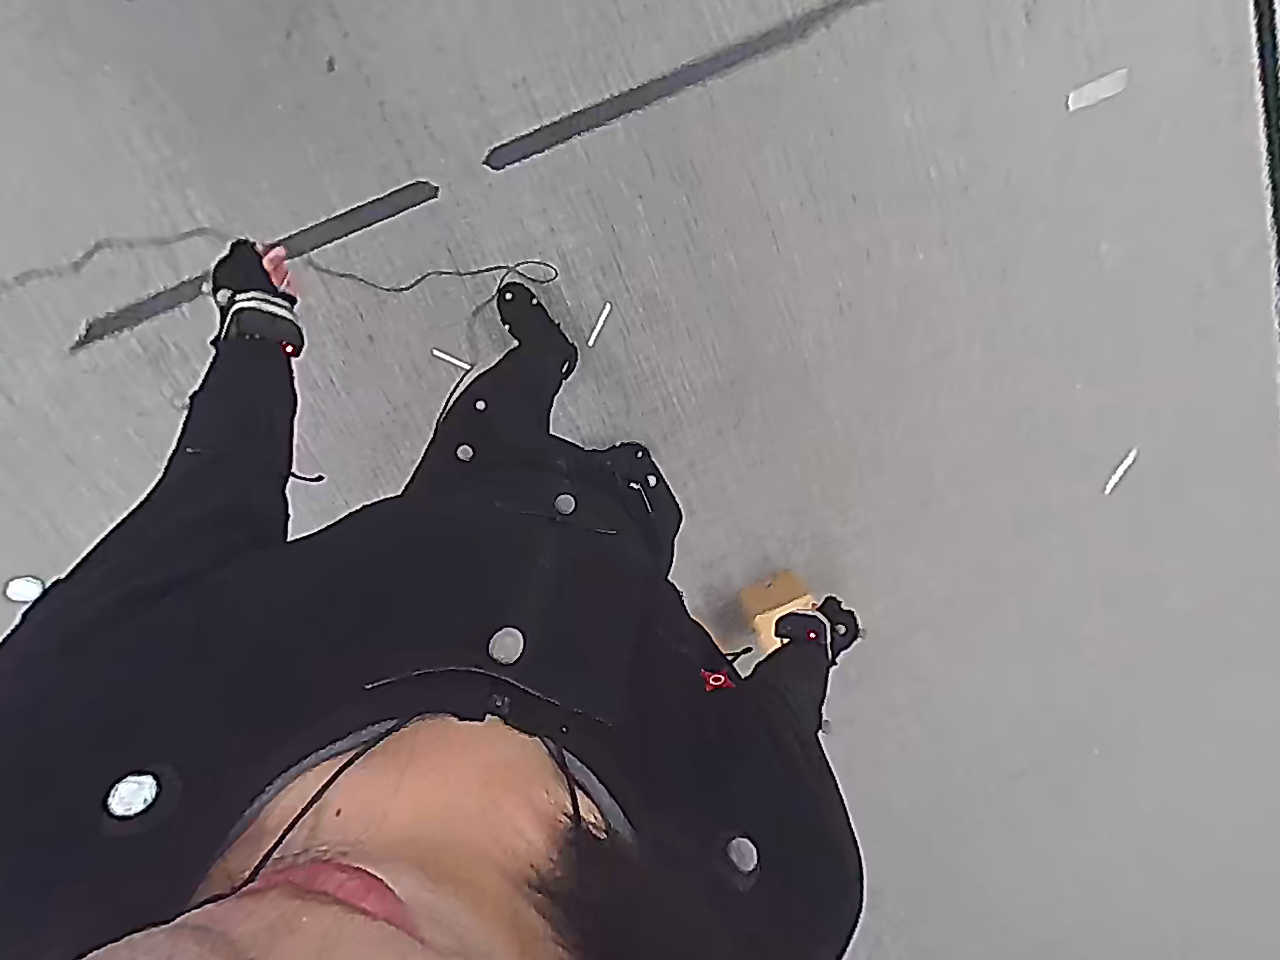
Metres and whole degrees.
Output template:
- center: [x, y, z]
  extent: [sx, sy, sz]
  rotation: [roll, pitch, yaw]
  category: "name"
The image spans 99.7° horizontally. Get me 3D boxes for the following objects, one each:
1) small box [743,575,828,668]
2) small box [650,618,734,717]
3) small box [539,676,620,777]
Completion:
- center: [0.409, 0.404, 1.562]
  extent: [0.179, 0.176, 0.168]
  rotation: [-23, 104, 3]
  category: "small box"
- center: [0.147, 0.542, 1.583]
  extent: [0.168, 0.176, 0.179]
  rotation: [-40, 102, 6]
  category: "small box"
- center: [-0.177, 0.726, 1.611]
  extent: [0.168, 0.176, 0.179]
  rotation: [42, 100, -11]
  category: "small box"
